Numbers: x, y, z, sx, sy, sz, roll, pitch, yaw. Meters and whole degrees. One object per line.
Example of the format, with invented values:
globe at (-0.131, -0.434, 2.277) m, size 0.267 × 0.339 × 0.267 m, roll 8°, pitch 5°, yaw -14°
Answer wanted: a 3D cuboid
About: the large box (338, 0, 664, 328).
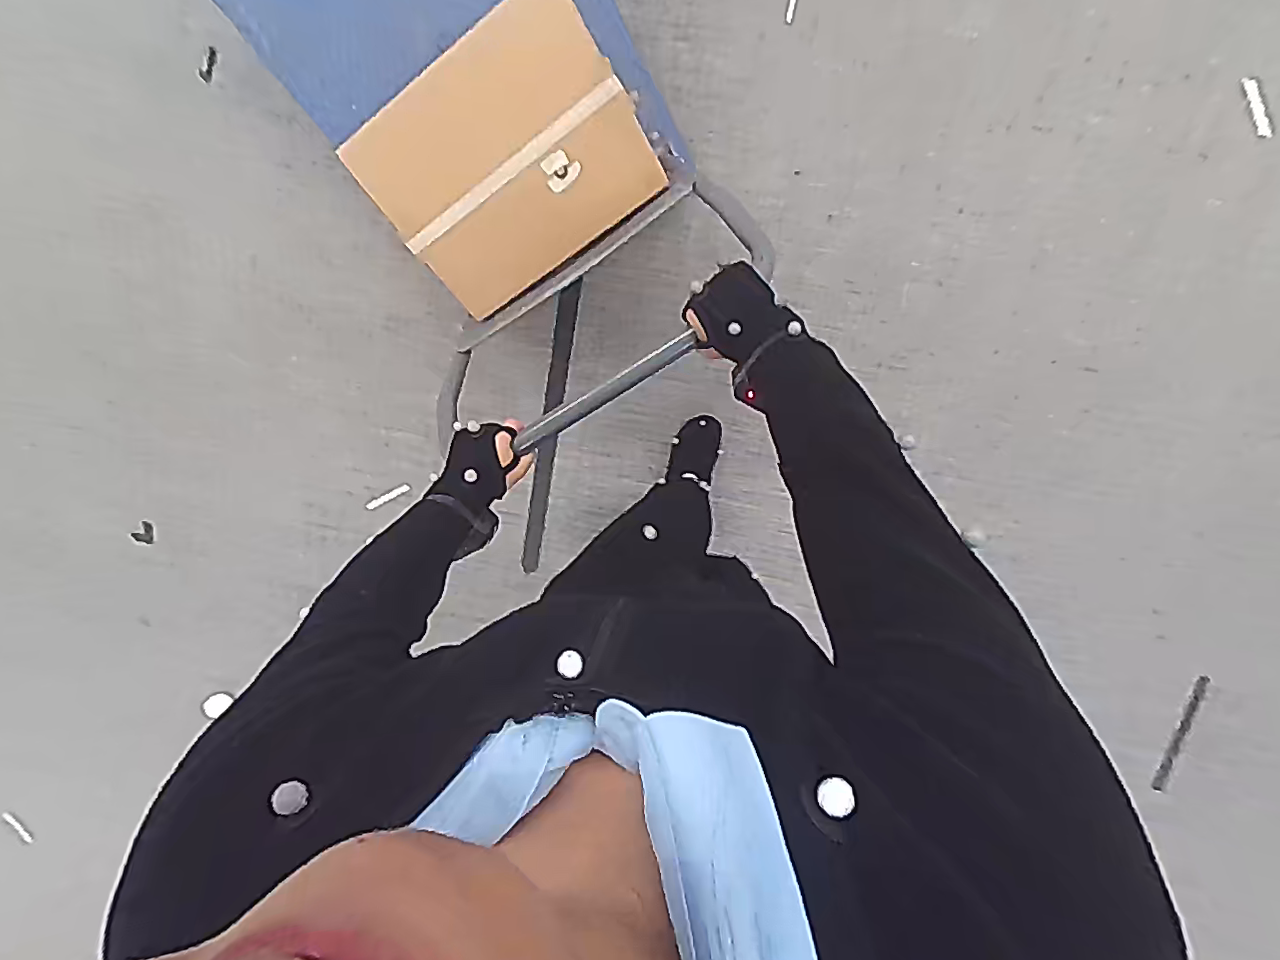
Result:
large box at (-0.221, -0.545, 0.950) m, size 0.408 × 0.320 × 0.320 m, roll -32°, pitch 122°, yaw 13°
